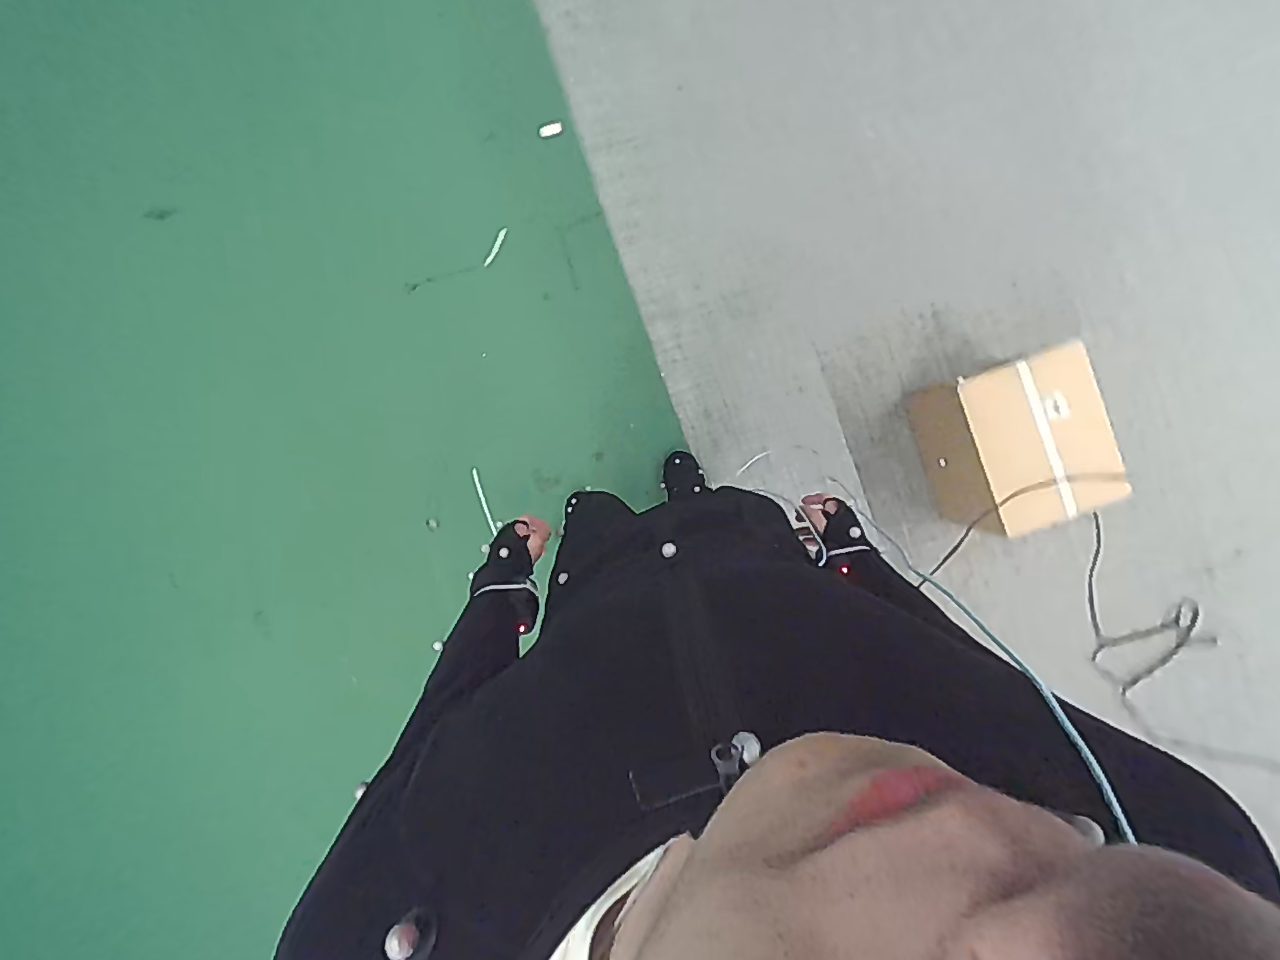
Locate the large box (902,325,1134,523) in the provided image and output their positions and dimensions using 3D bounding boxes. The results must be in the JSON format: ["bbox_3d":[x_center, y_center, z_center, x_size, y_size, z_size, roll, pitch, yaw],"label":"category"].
[{"bbox_3d":[0.976,-0.137,1.447,0.320,0.320,0.408,-22,91,3],"label":"large box"}]
